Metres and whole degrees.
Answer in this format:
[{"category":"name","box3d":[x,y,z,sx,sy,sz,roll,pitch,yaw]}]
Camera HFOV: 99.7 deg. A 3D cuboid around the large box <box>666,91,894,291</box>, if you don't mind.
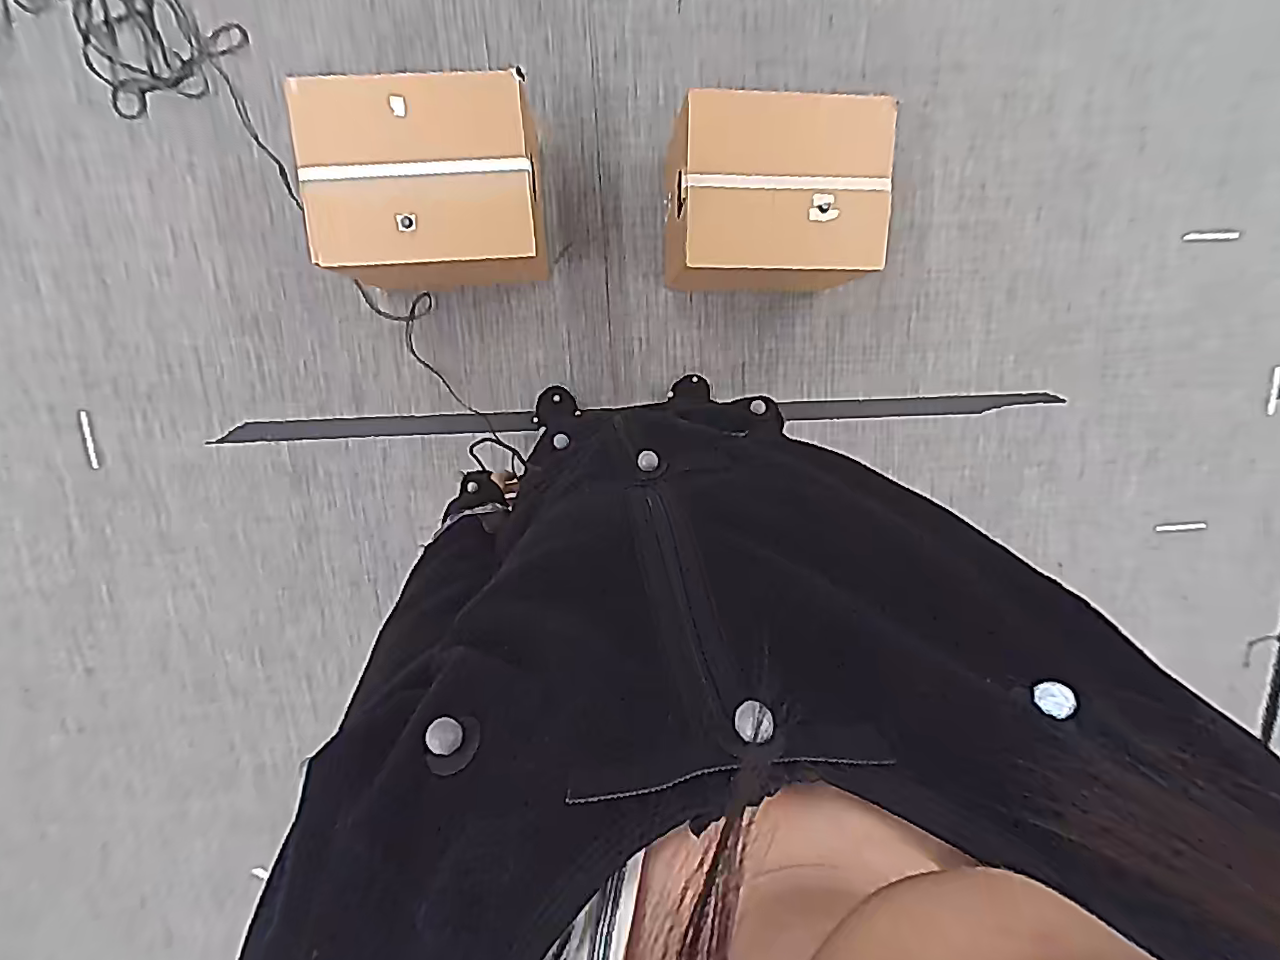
[{"category":"large box","box3d":[0.276,-0.601,1.190,0.408,0.320,0.320,-1,102,-5]}]
